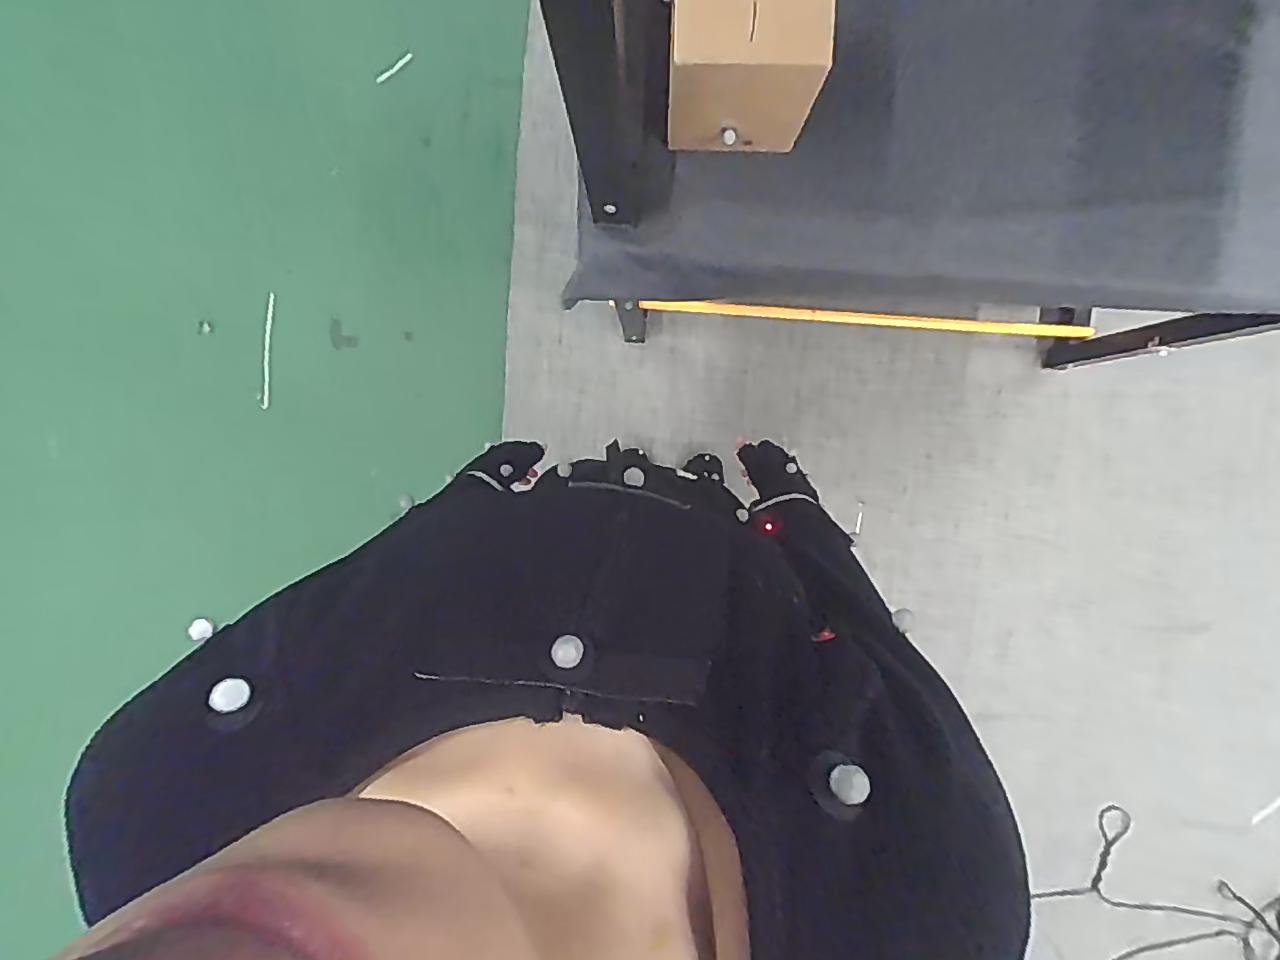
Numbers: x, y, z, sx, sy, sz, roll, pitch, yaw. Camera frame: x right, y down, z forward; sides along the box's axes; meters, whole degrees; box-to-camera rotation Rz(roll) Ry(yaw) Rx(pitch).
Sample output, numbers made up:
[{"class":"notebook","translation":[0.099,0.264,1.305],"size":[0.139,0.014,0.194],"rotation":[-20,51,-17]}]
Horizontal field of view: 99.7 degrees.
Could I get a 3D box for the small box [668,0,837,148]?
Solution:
[{"class":"small box","translation":[0.119,-0.521,0.625],"size":[0.168,0.176,0.179],"rotation":[1,94,1]}]
